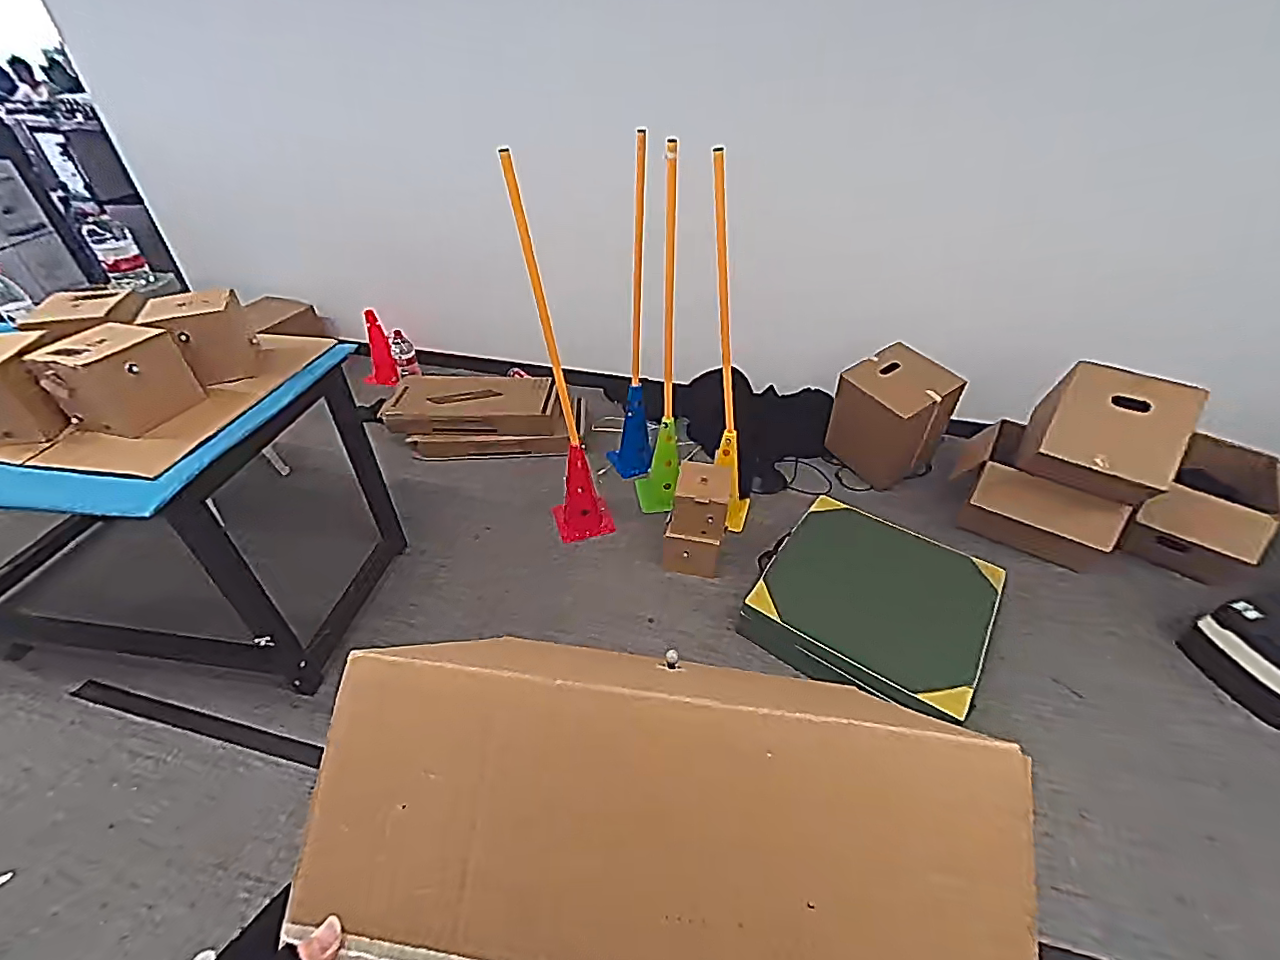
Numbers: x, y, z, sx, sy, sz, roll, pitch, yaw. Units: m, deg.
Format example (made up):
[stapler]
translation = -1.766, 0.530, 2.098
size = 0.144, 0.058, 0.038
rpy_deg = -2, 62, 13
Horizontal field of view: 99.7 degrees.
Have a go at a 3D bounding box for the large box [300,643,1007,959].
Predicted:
[large box]
translation = 0.010, 0.322, 0.447
size = 0.408, 0.320, 0.320
rpy_deg = 6, 76, 6
